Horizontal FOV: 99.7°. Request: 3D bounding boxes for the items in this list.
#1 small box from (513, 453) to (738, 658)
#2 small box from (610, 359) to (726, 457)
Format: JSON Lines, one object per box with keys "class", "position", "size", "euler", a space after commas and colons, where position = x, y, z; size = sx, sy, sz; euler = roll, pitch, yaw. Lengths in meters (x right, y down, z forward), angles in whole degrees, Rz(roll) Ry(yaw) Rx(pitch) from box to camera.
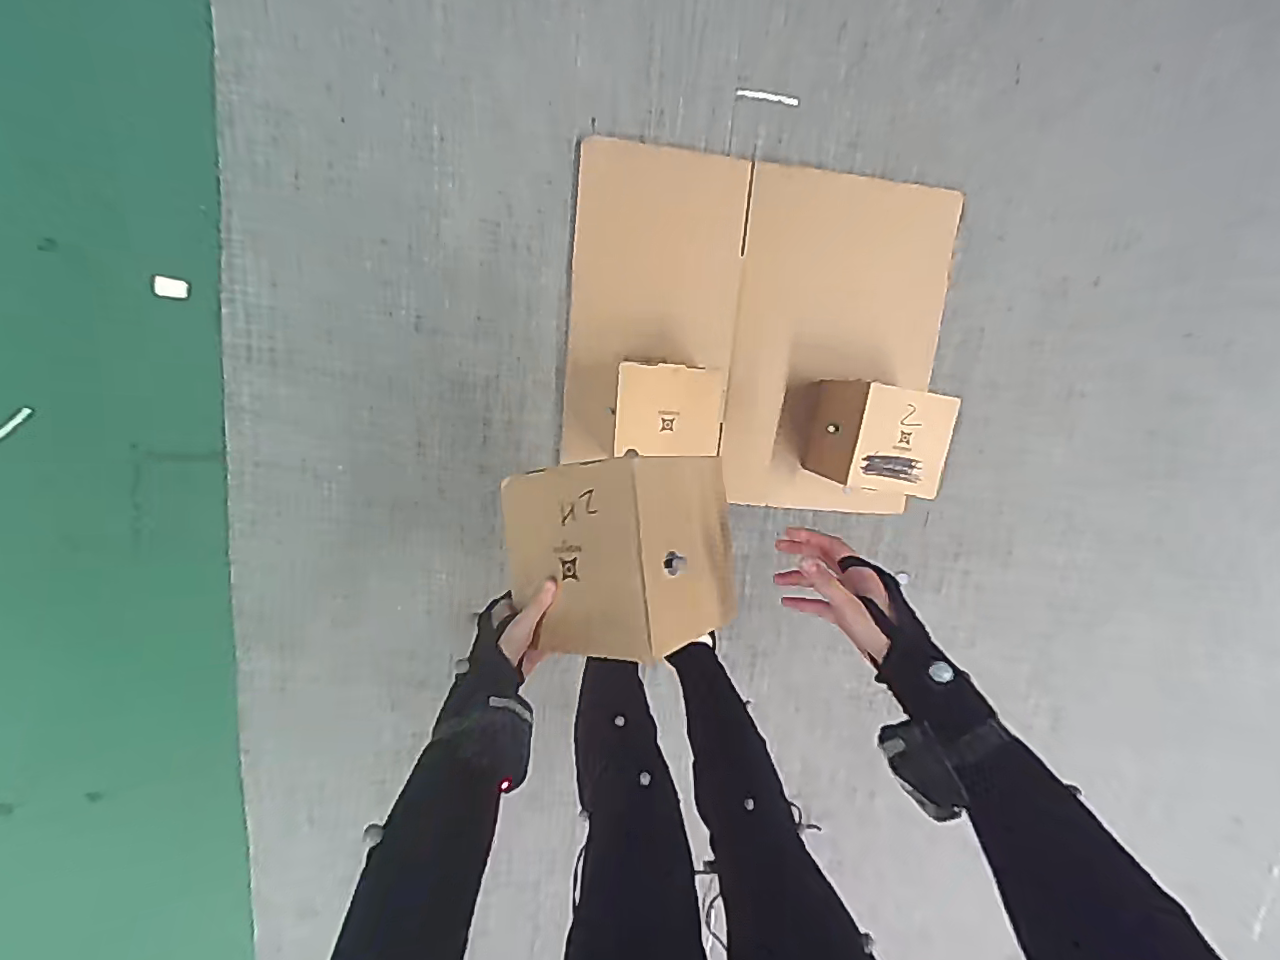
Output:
{"class": "small box", "position": [-0.009, 0.066, 0.561], "size": [0.168, 0.176, 0.179], "euler": [-6, 87, 34]}
{"class": "small box", "position": [0.038, -0.109, 0.914], "size": [0.168, 0.176, 0.179], "euler": [2, 100, -7]}
